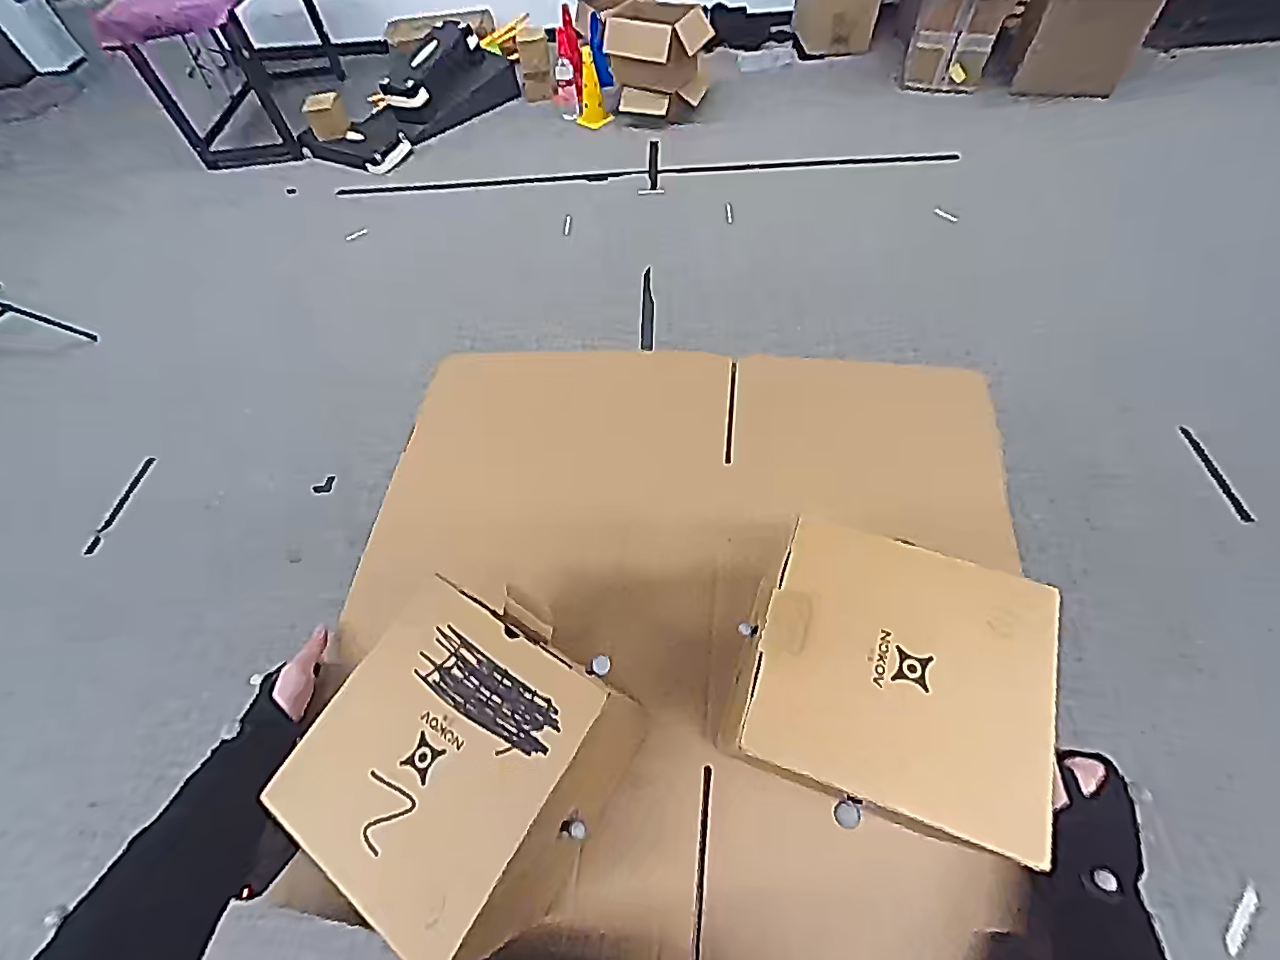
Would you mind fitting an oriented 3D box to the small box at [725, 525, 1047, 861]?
[{"bbox_3d":[0.176,0.161,0.428,0.179,0.176,0.168,16,65,13],"label":"small box"}]
